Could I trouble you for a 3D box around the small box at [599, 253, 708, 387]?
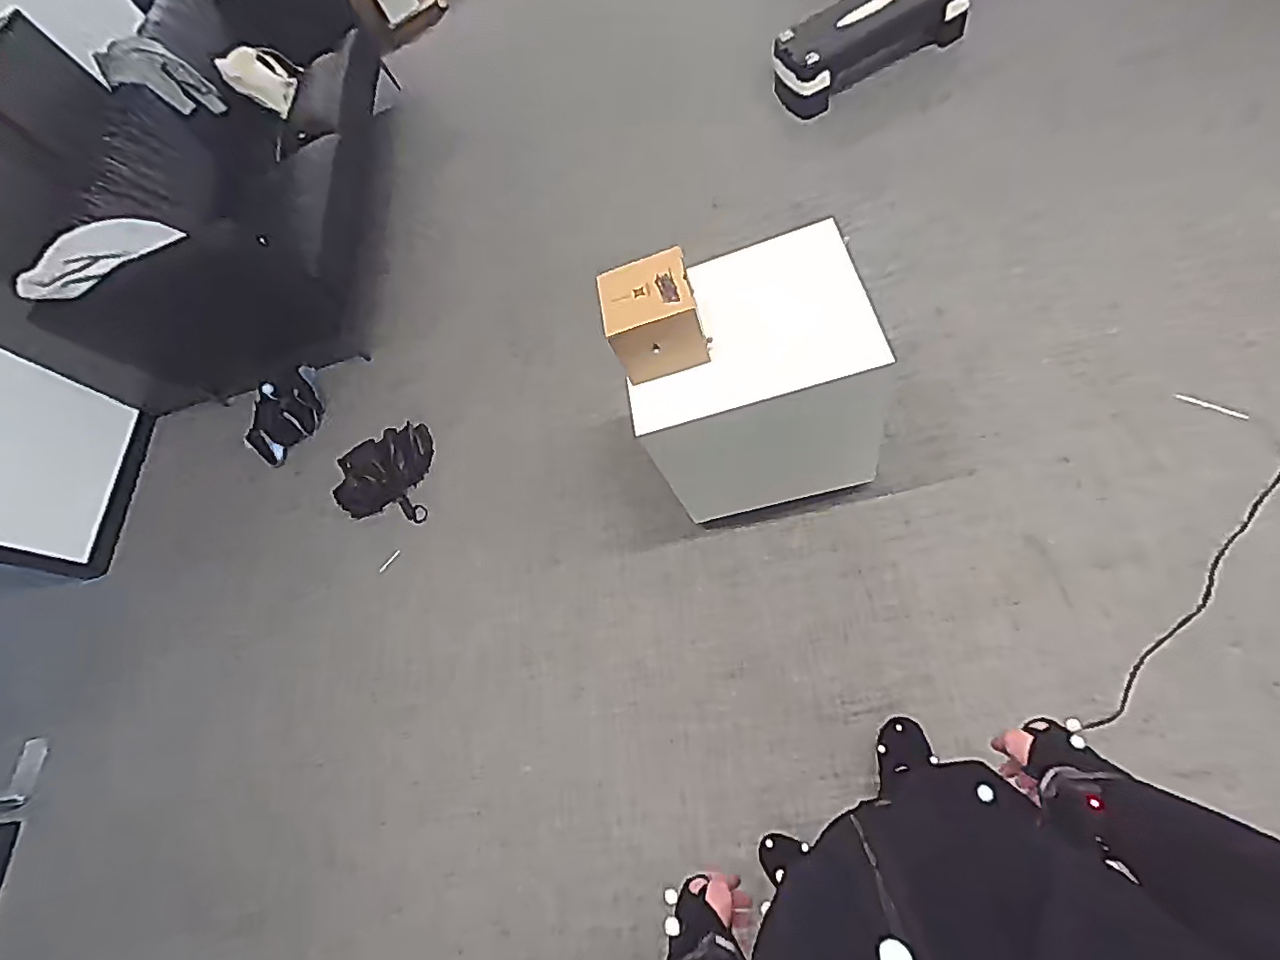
[{"bbox_3d":[0.033,-0.317,1.099,0.179,0.176,0.168,-15,62,12],"label":"small box"}]
